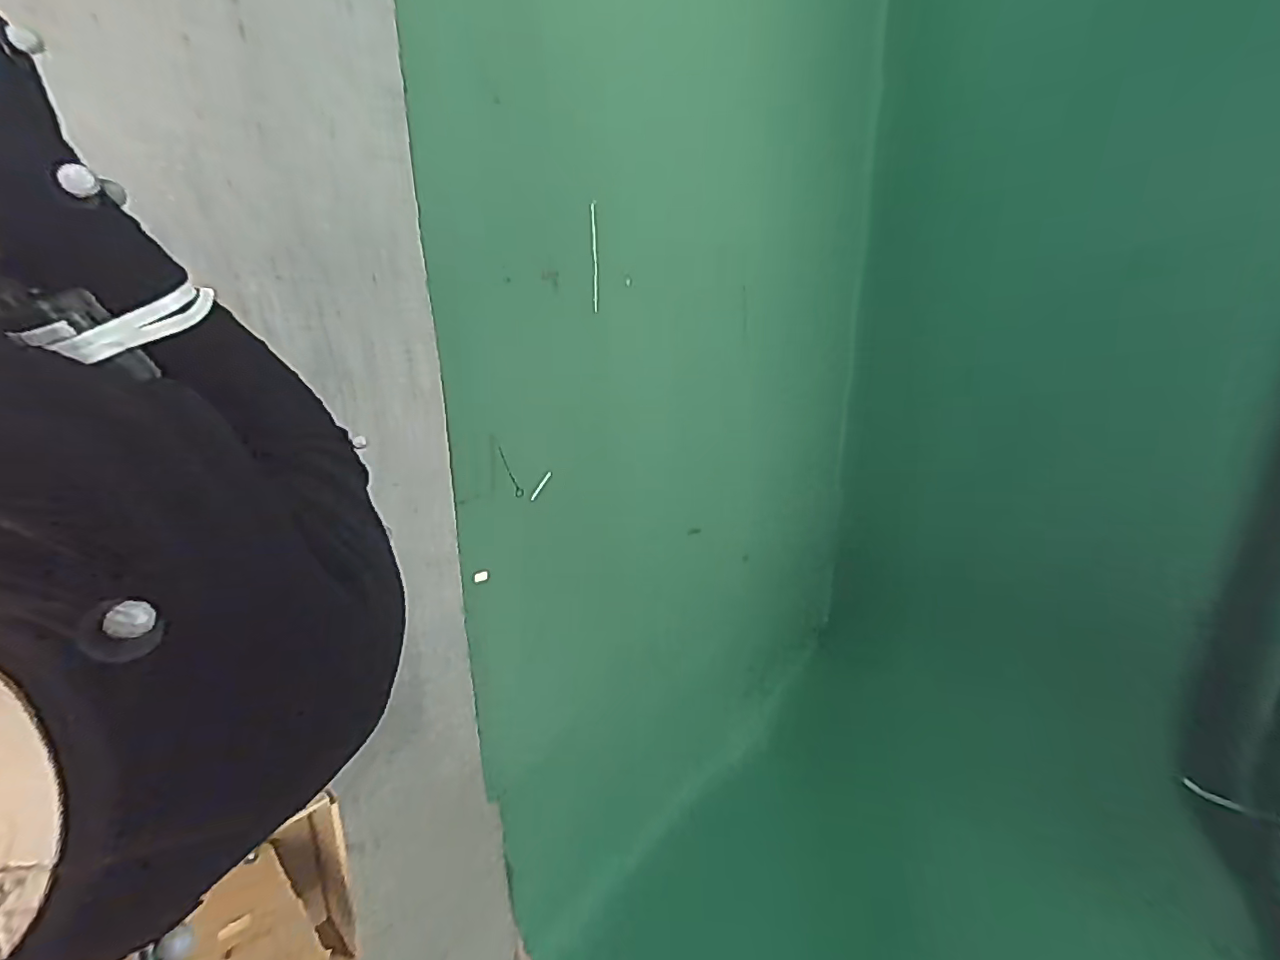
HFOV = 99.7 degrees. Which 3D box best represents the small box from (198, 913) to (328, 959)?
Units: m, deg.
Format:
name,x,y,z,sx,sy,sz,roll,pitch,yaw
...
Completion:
name,x,y,z,sx,sy,sz,roll,pitch,yaw
small box,-0.569,0.801,0.803,0.168,0.176,0.179,-7,106,-46
